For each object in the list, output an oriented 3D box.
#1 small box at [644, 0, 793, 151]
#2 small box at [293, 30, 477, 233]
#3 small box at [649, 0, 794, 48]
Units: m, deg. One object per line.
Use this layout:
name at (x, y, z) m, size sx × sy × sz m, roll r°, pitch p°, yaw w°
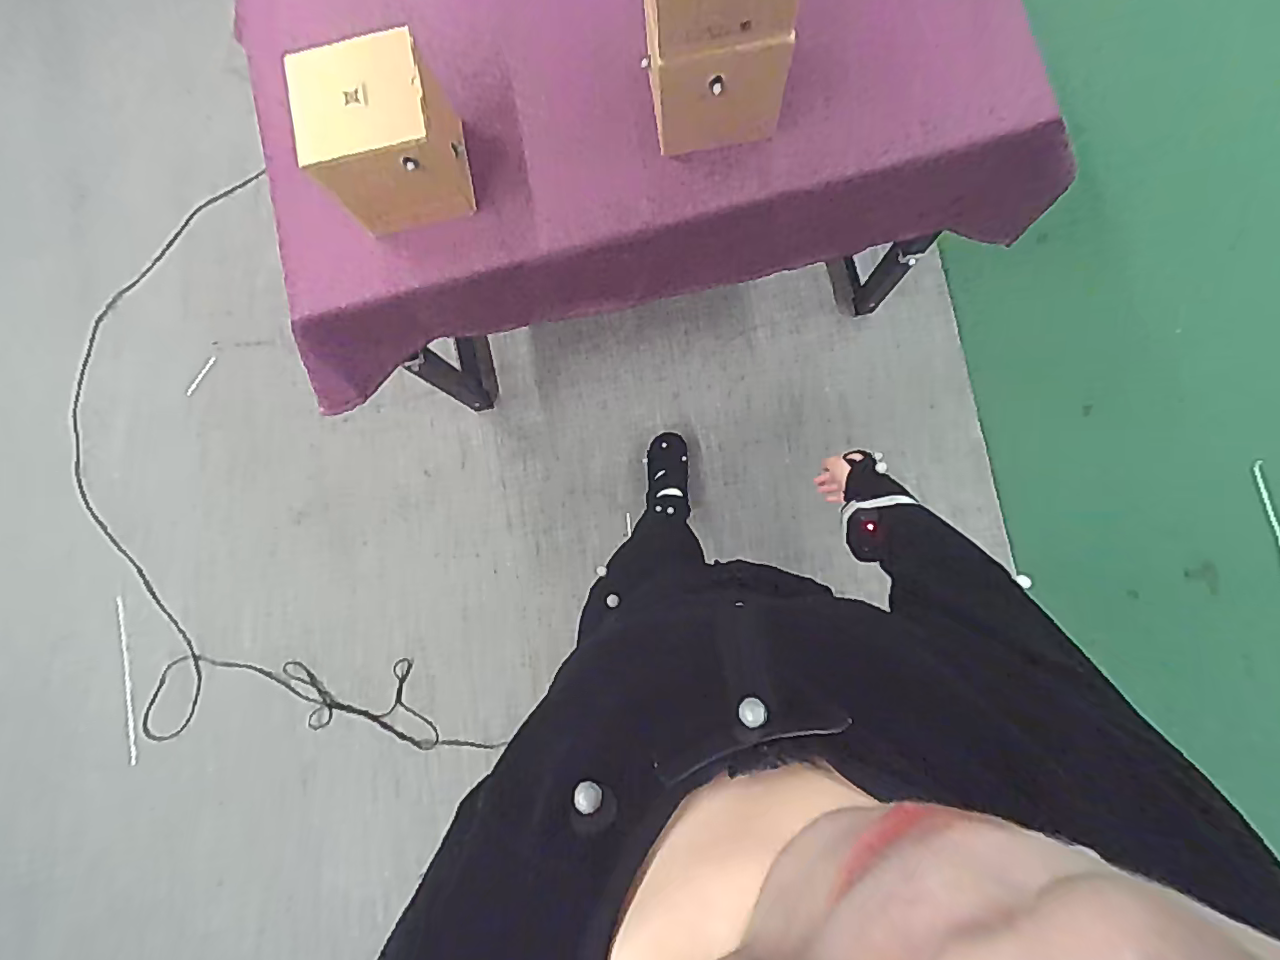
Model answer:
small box at (0.103, -0.600, 0.759) m, size 0.179 × 0.176 × 0.168 m, roll -8°, pitch 84°, yaw 4°
small box at (-0.362, -0.491, 0.790) m, size 0.179 × 0.176 × 0.168 m, roll -12°, pitch 83°, yaw 3°
small box at (0.087, -0.626, 0.599) m, size 0.168 × 0.176 × 0.179 m, roll -8°, pitch 83°, yaw 4°
